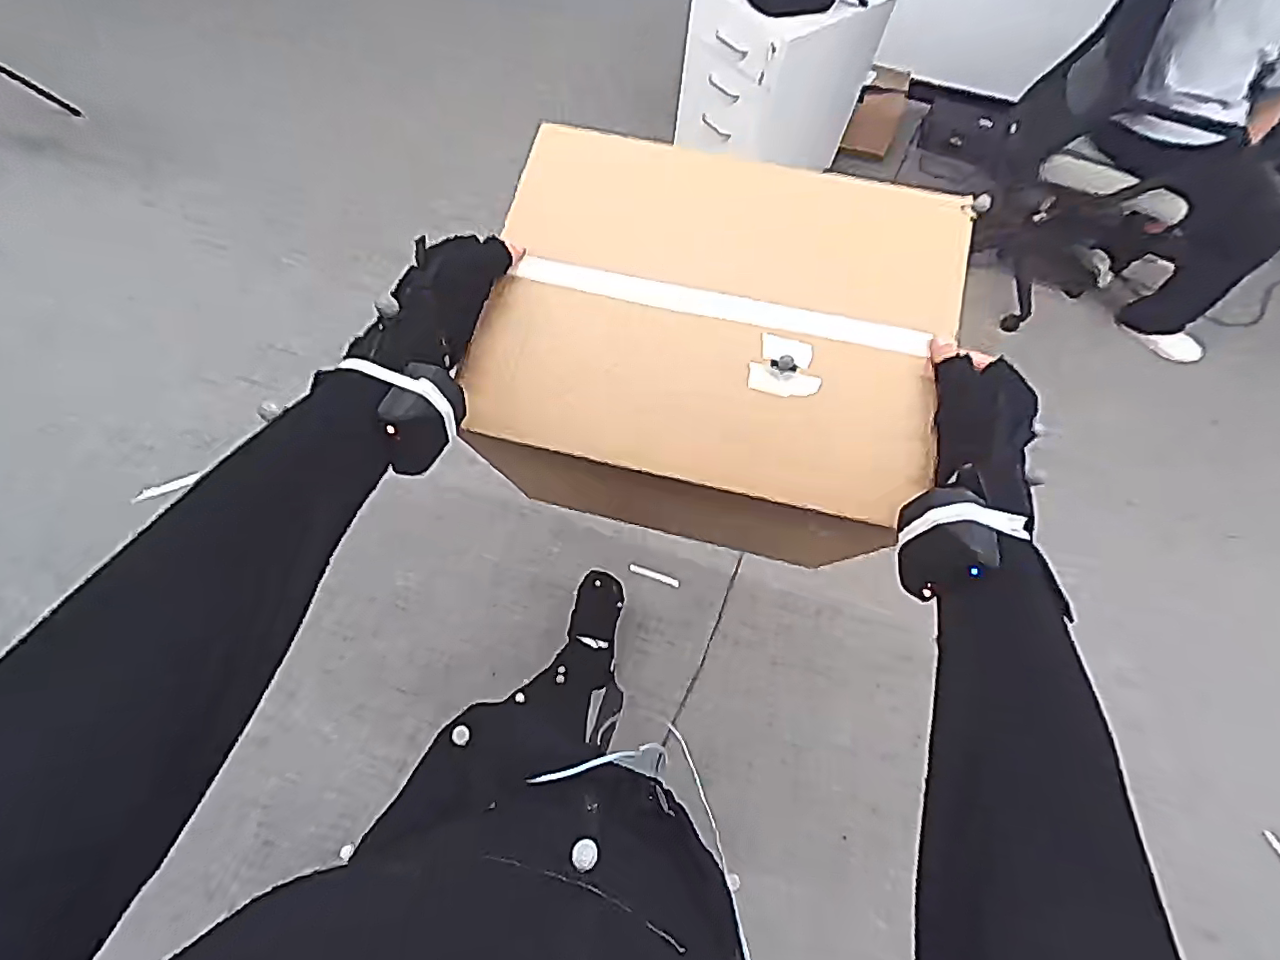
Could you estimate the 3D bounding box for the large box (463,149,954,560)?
[{"bbox_3d":[0.072,-0.111,0.634,0.408,0.320,0.320,13,78,5],"label":"large box"}]
